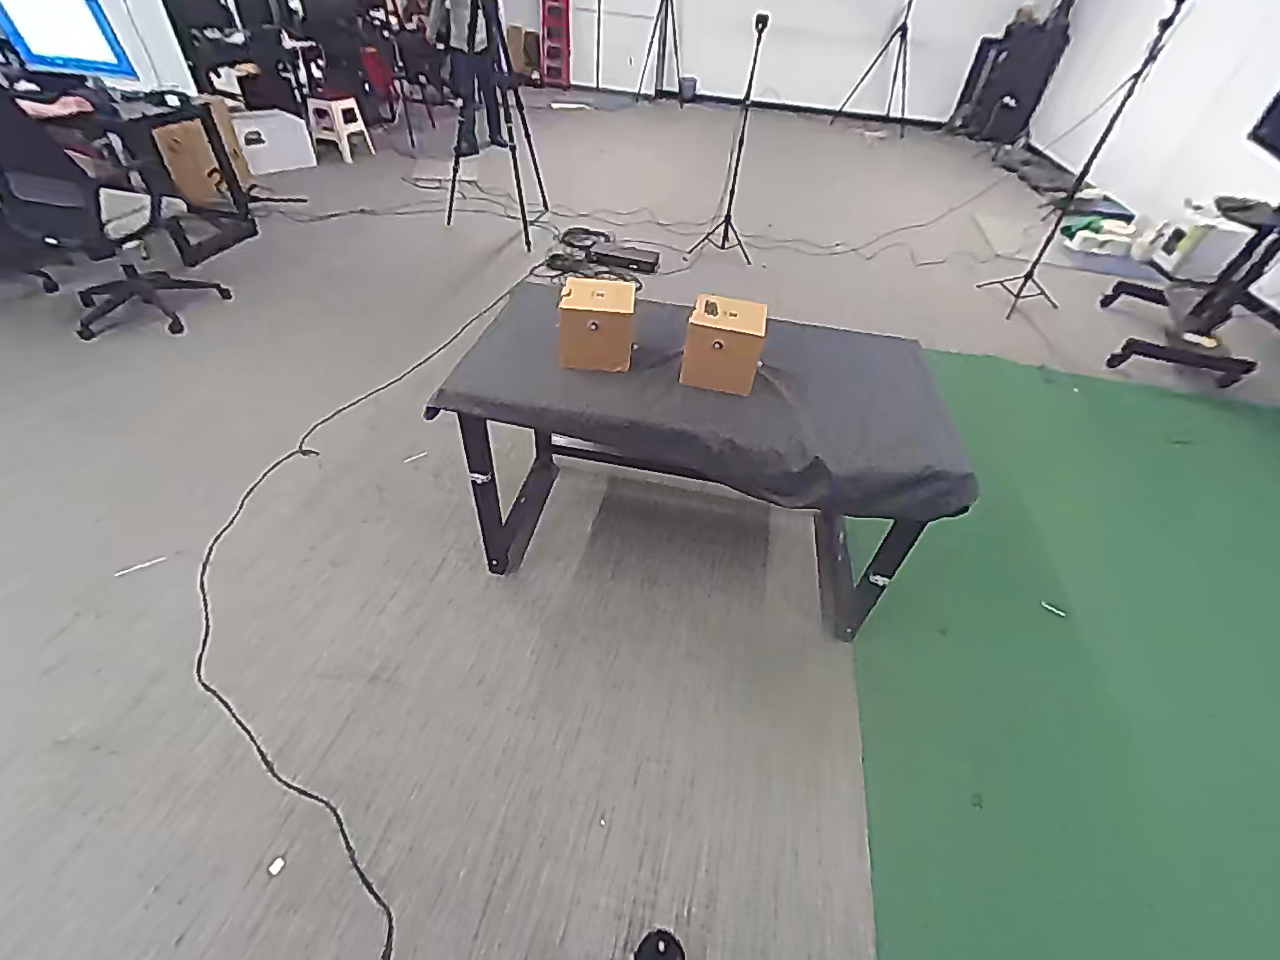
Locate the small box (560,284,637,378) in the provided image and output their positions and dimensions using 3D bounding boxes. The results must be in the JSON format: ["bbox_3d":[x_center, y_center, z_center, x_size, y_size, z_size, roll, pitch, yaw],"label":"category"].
[{"bbox_3d":[-0.103,-0.375,1.369,0.179,0.176,0.168,5,44,-3],"label":"small box"}]

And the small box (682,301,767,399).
[{"bbox_3d":[0.207,-0.320,1.339,0.179,0.176,0.168,12,43,6],"label":"small box"}]
